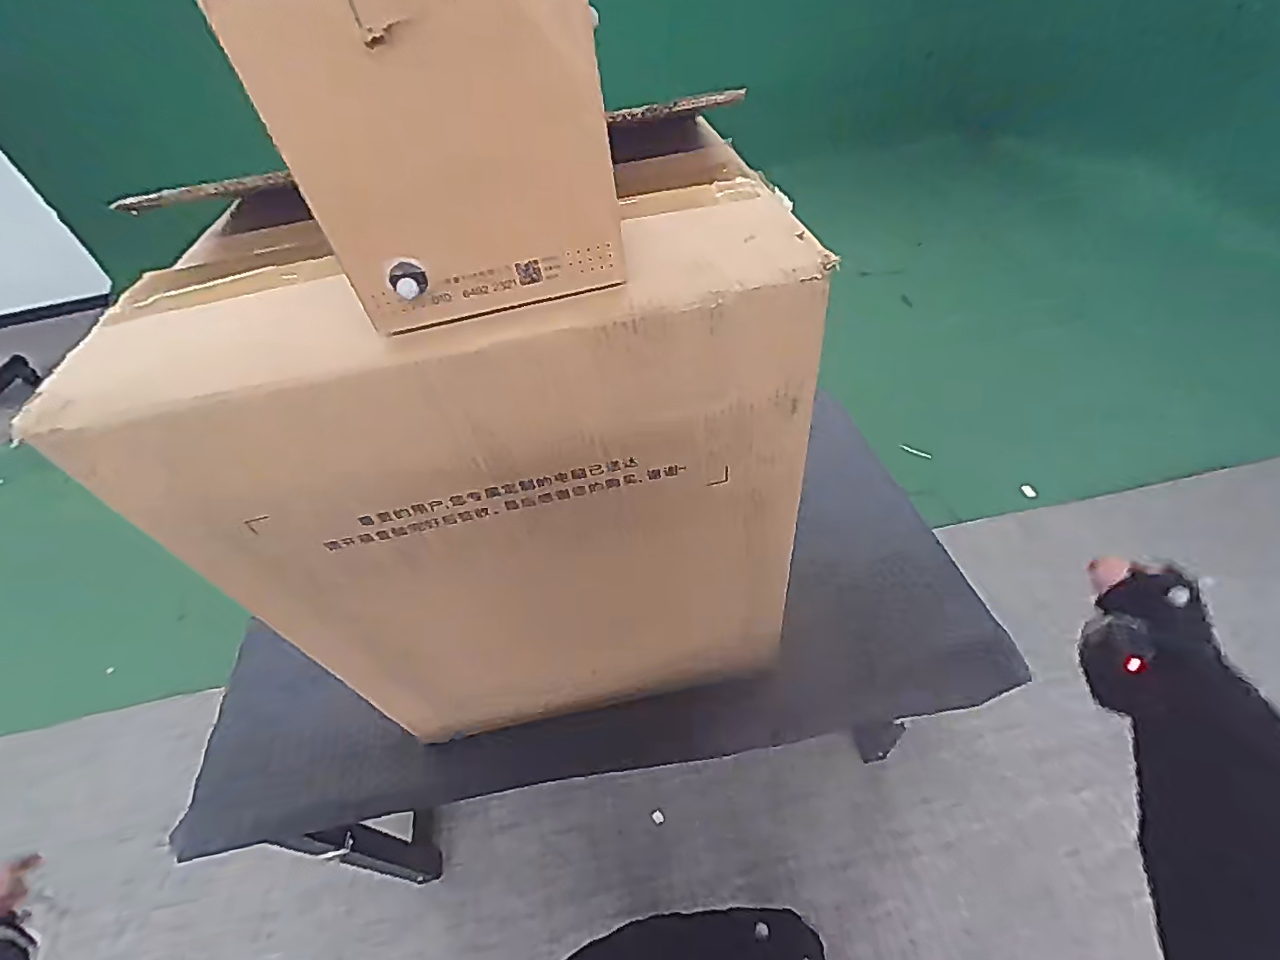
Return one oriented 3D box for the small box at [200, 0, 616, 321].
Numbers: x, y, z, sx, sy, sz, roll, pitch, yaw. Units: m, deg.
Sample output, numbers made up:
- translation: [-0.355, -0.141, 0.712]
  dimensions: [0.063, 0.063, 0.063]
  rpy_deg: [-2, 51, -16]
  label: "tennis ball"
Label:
- translation: [-0.118, -0.219, 0.350]
  dimensions: [0.168, 0.176, 0.179]
  rpy_deg: [-14, 47, -3]
  label: "small box"
